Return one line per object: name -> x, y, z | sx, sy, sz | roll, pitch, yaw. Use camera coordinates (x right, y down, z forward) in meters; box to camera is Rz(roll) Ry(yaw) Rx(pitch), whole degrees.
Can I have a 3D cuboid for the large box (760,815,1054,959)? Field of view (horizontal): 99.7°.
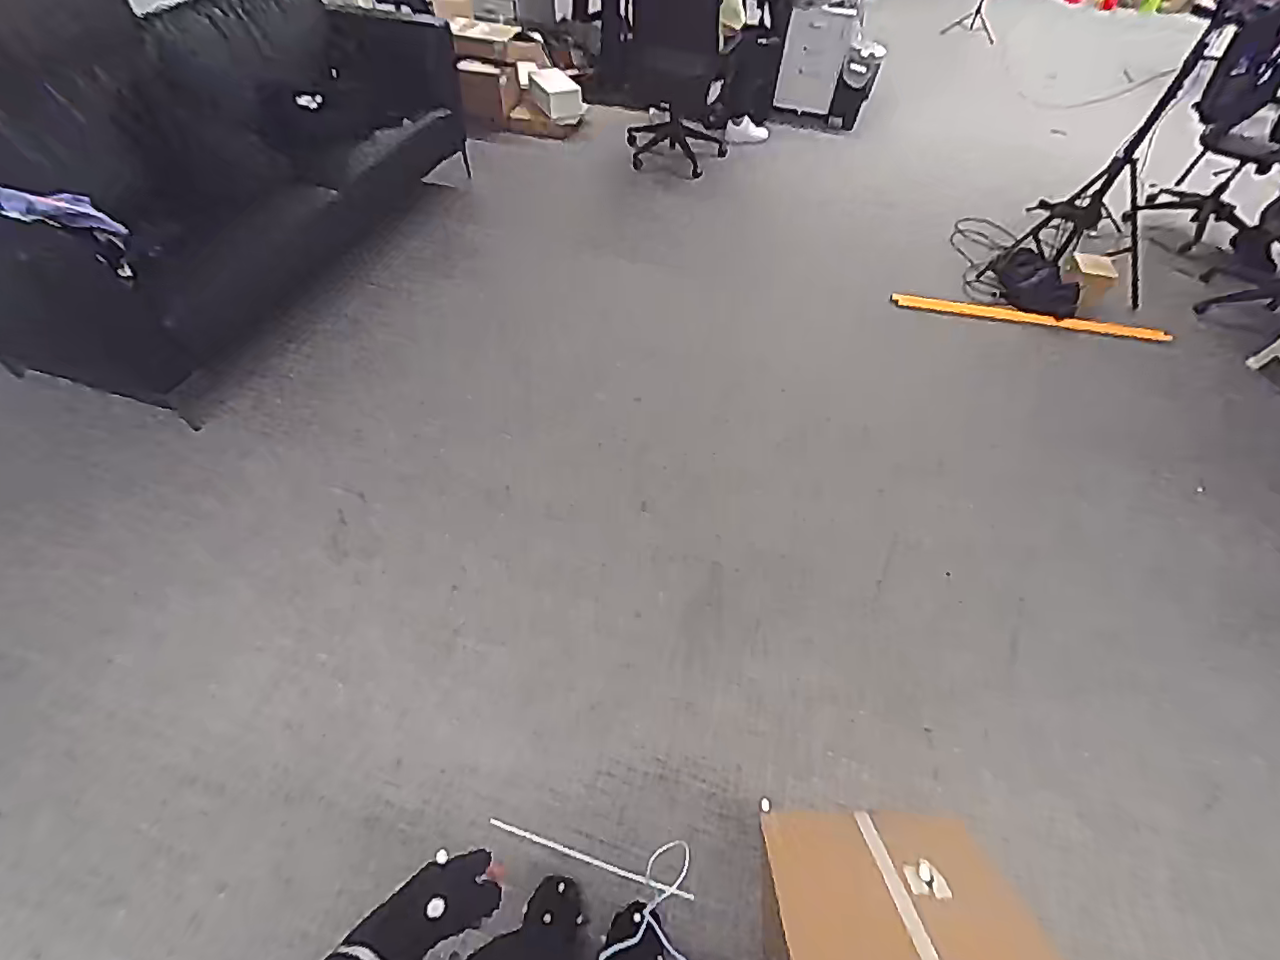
large box -> 0.342, 0.713, 0.684 | 0.320, 0.408, 0.320 | -1, 96, 4
